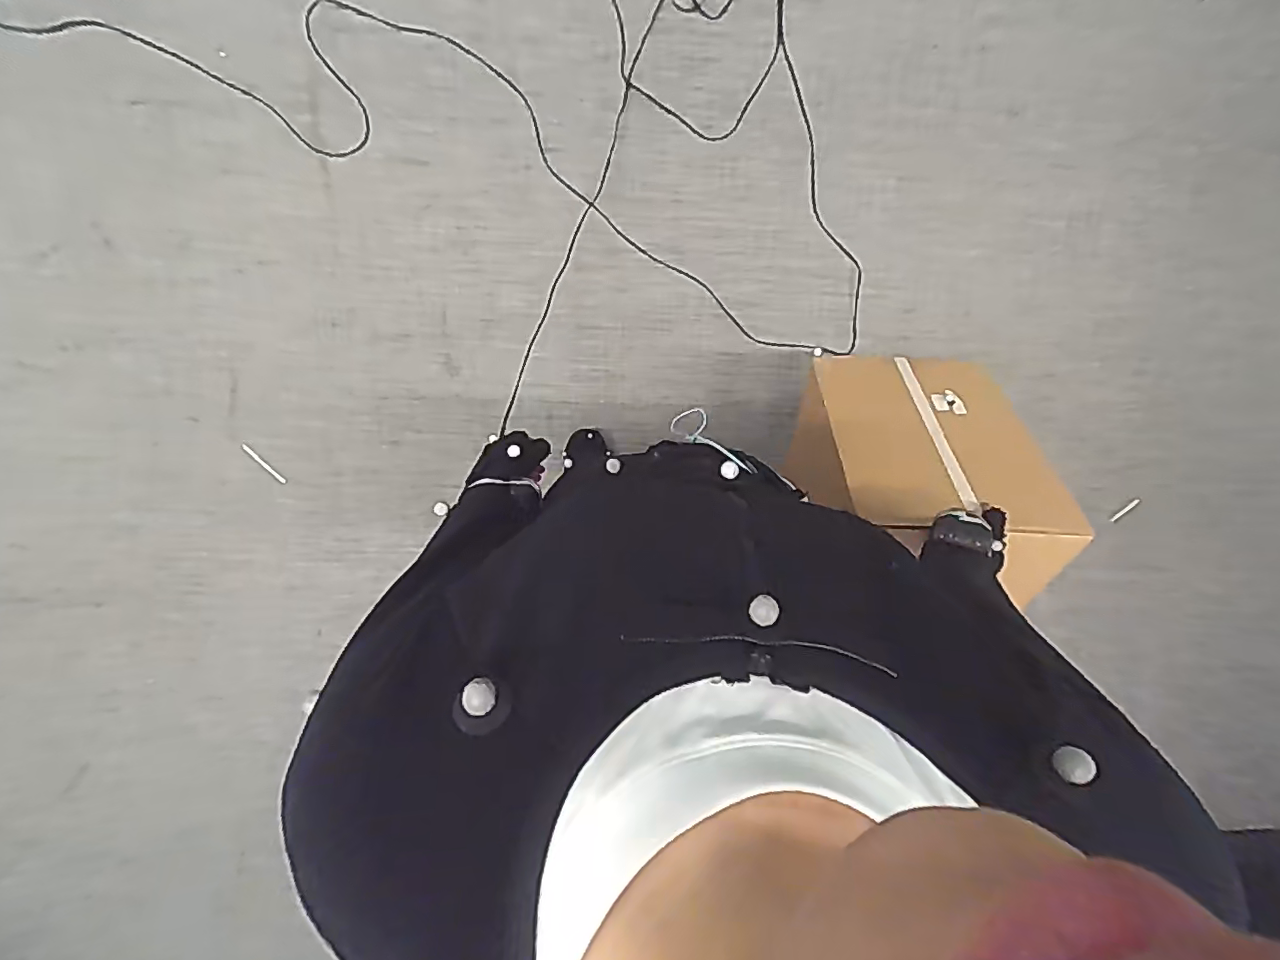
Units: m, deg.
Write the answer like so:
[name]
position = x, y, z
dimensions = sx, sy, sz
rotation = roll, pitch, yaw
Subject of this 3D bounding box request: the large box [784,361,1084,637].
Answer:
[large box]
position = 0.463, 0.032, 0.979
dimensions = 0.320, 0.408, 0.320
rotation = 3, 137, 2
